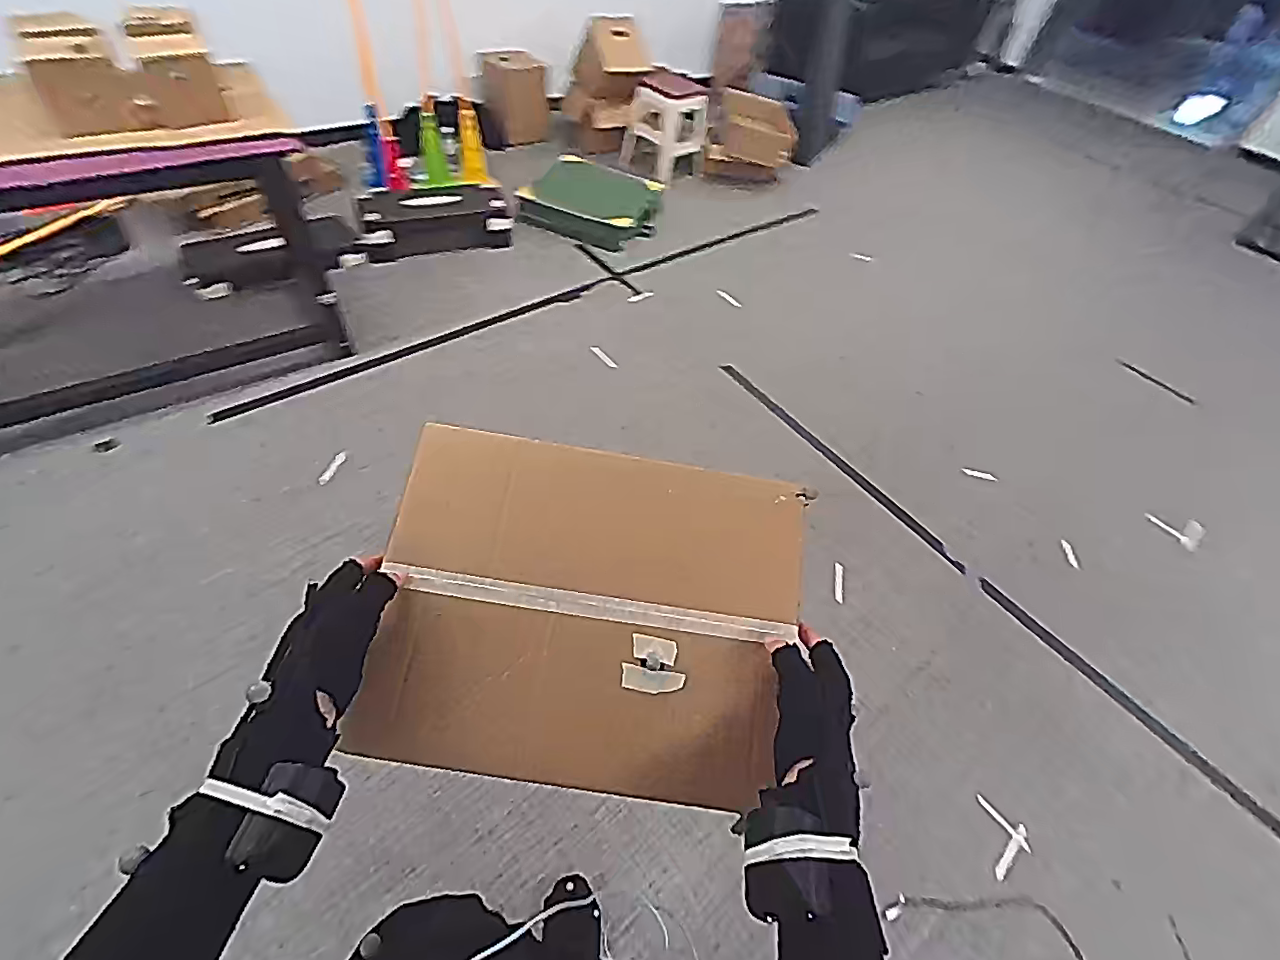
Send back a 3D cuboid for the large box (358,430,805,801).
[{"bbox_3d":[-0.050,0.165,0.676,0.408,0.320,0.320,10,73,-1],"label":"large box"}]
